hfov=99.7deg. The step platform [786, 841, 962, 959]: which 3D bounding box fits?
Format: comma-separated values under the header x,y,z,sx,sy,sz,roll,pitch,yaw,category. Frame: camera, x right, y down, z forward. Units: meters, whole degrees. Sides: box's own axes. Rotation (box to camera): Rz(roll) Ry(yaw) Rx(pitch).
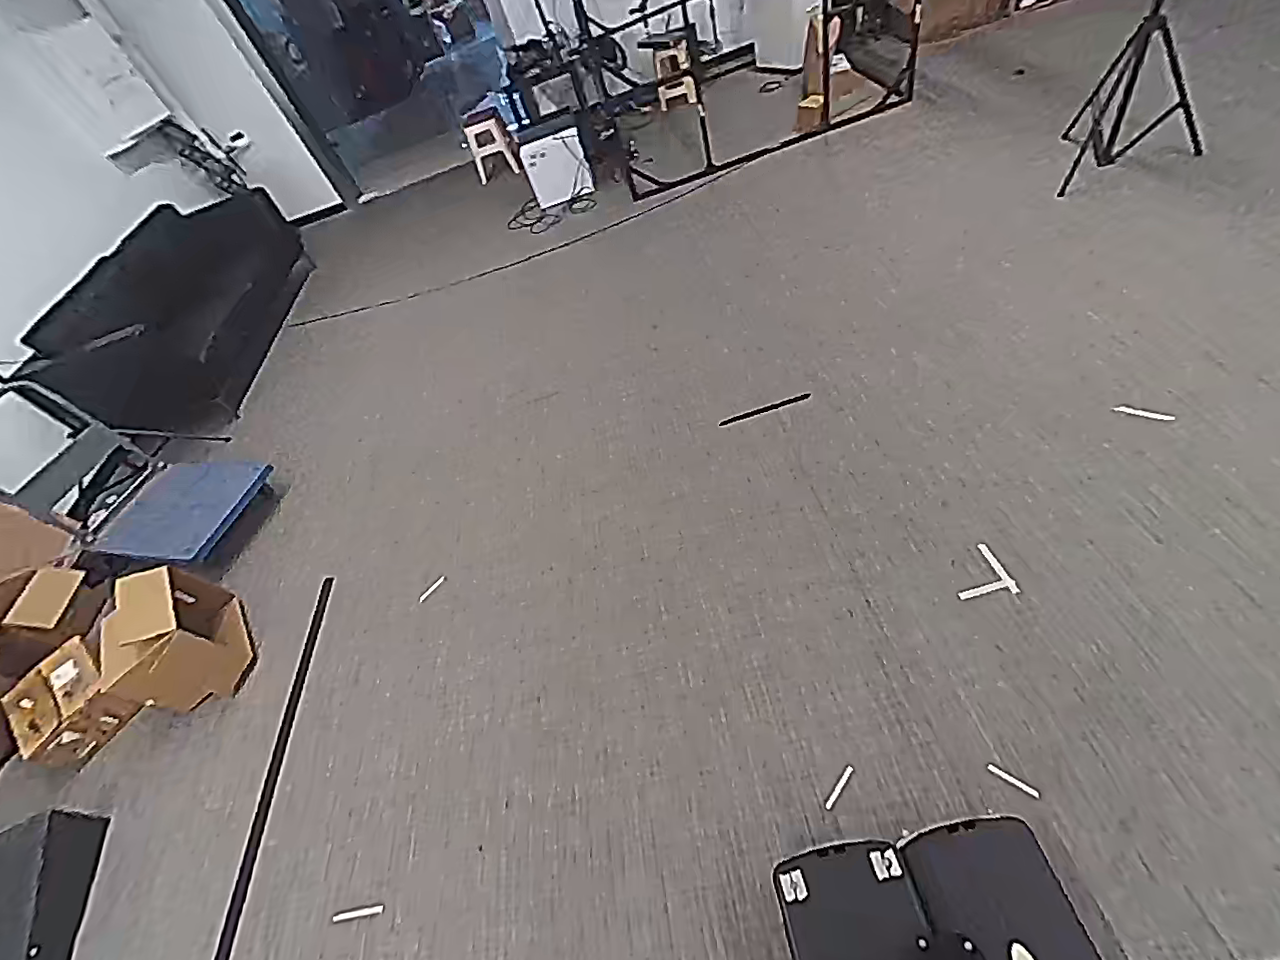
x,y,z,sx,sy,sz,roll,pitch,yaw,category
0.511,1.078,0.995,0.286,0.204,0.684,-18,47,5,step platform
